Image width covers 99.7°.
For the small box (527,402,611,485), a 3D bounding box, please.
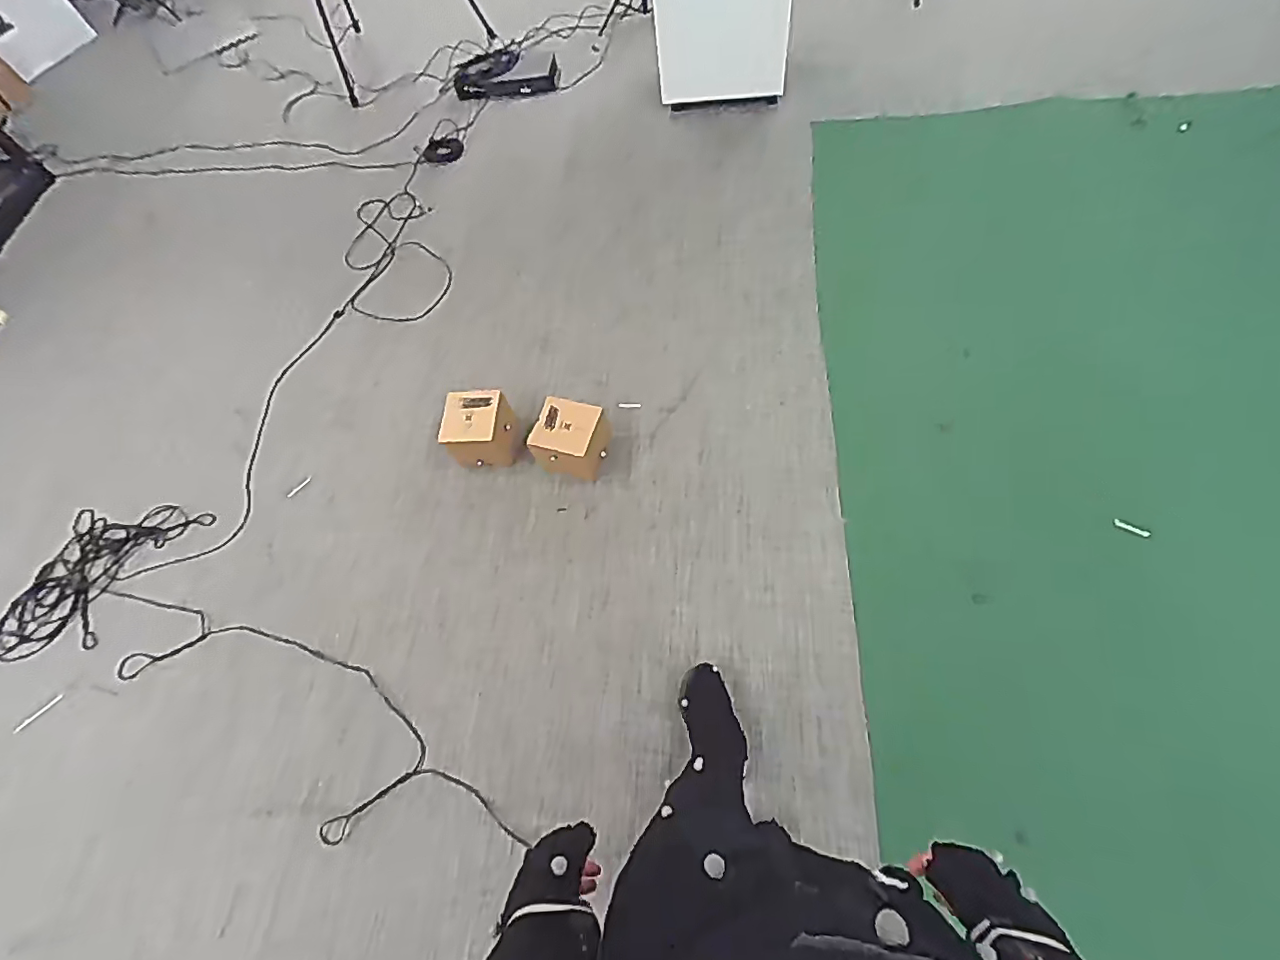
[{"bbox_3d":[-0.202,-0.103,1.592,0.179,0.176,0.168,14,67,13],"label":"small box"}]
